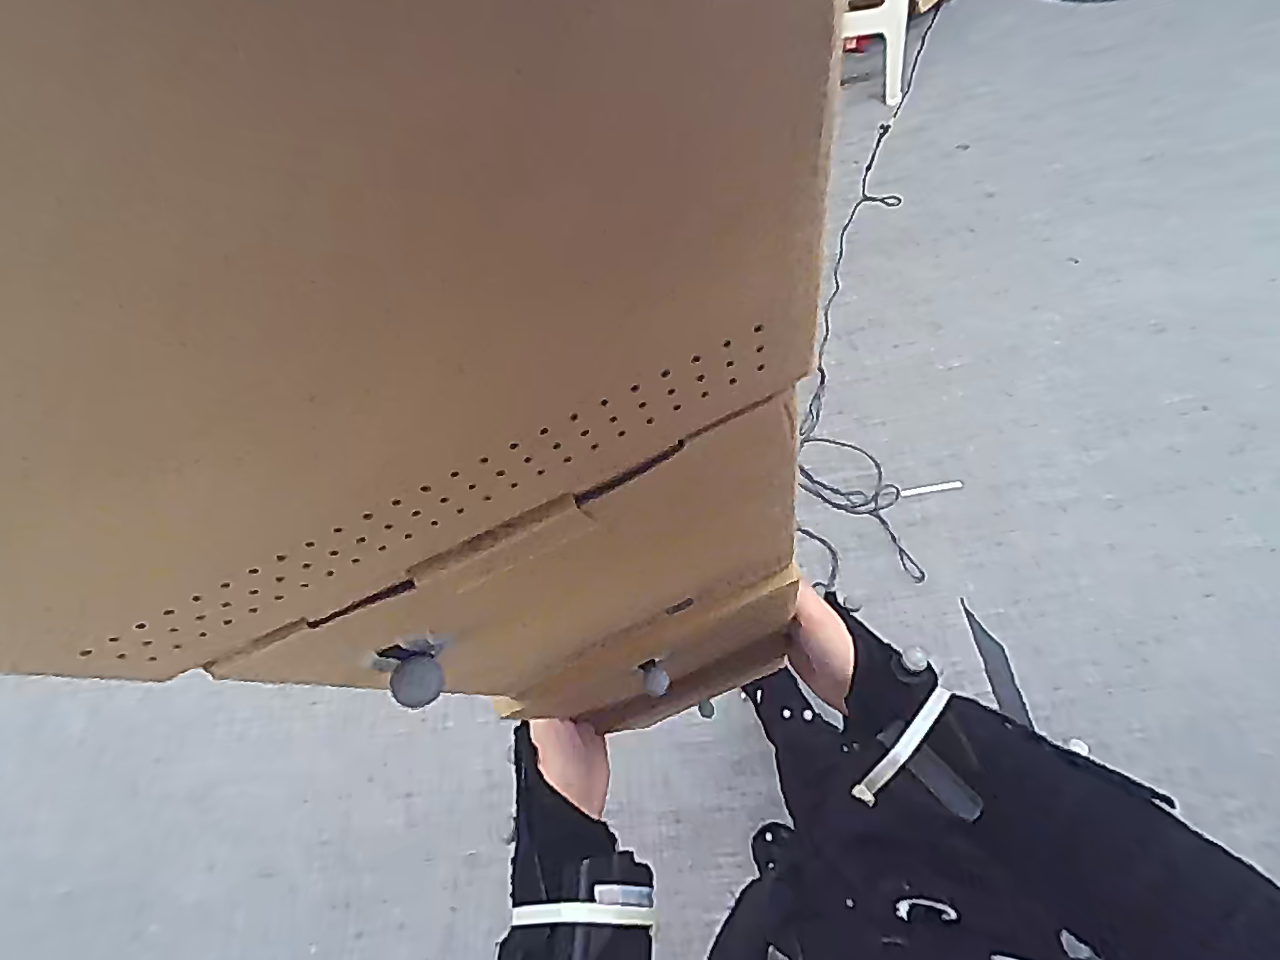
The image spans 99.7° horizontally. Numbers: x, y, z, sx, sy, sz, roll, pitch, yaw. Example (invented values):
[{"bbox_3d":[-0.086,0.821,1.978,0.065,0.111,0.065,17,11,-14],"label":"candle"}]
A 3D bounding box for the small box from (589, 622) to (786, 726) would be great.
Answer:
[{"bbox_3d":[0.027,0.122,0.527,0.168,0.176,0.179,-25,64,3],"label":"small box"}]

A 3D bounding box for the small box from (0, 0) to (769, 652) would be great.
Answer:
[{"bbox_3d":[-0.088,-0.086,0.096,0.179,0.176,0.168,-25,62,3],"label":"small box"}]

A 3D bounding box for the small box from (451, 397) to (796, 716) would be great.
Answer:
[{"bbox_3d":[-0.009,0.050,0.386,0.179,0.176,0.168,-26,64,3],"label":"small box"}]
